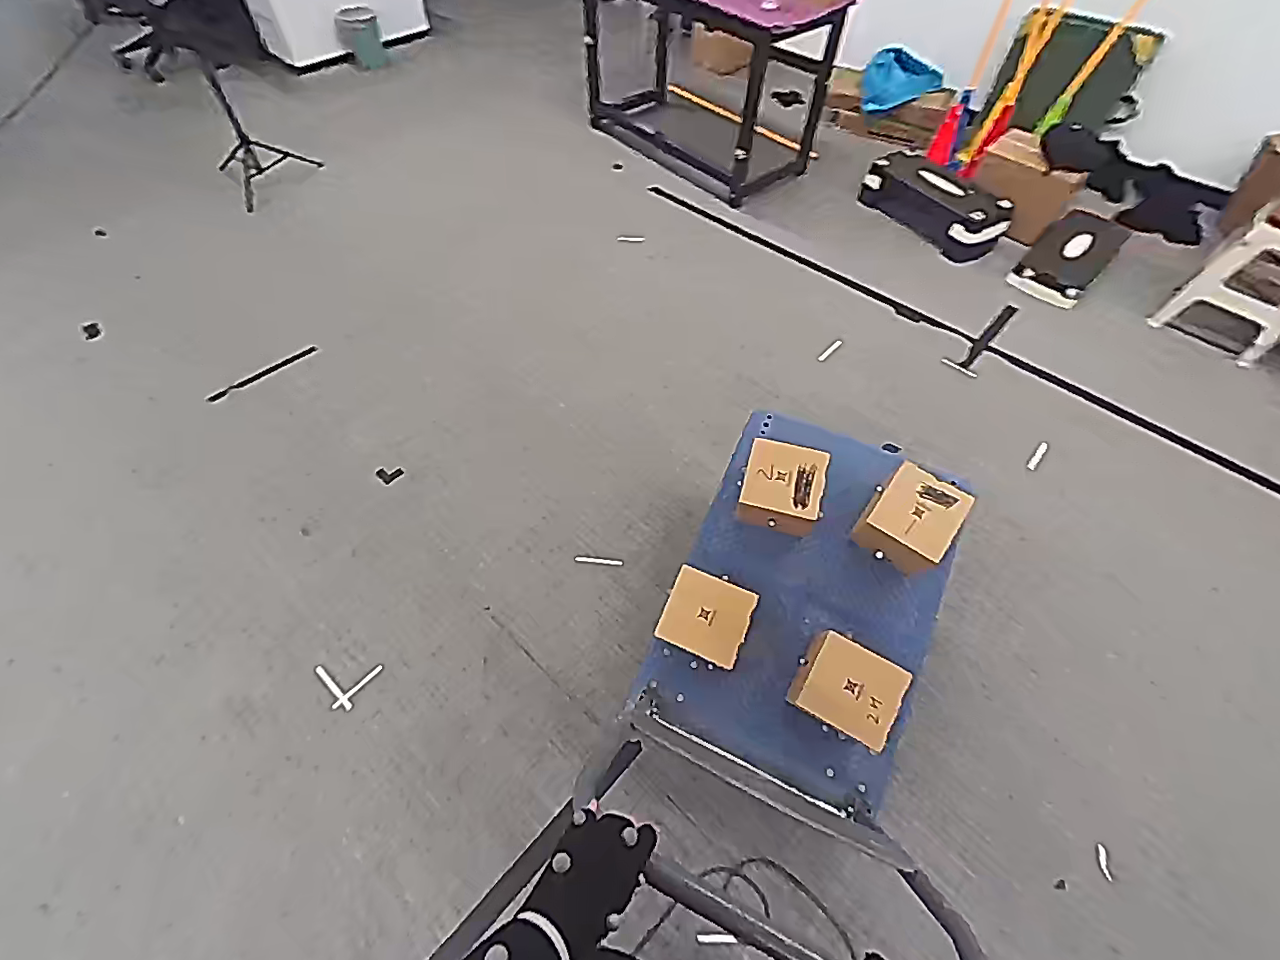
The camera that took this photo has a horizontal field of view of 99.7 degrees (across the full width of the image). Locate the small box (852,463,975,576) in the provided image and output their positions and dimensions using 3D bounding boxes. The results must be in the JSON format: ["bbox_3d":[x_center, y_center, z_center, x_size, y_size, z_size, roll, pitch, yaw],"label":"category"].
[{"bbox_3d":[0.612,0.096,1.235,0.168,0.176,0.179,34,79,16],"label":"small box"}]

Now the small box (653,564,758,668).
[{"bbox_3d":[0.144,0.309,1.212,0.179,0.176,0.168,22,75,11],"label":"small box"}]

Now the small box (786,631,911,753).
[{"bbox_3d":[0.425,0.440,1.135,0.179,0.176,0.168,28,77,15],"label":"small box"}]
